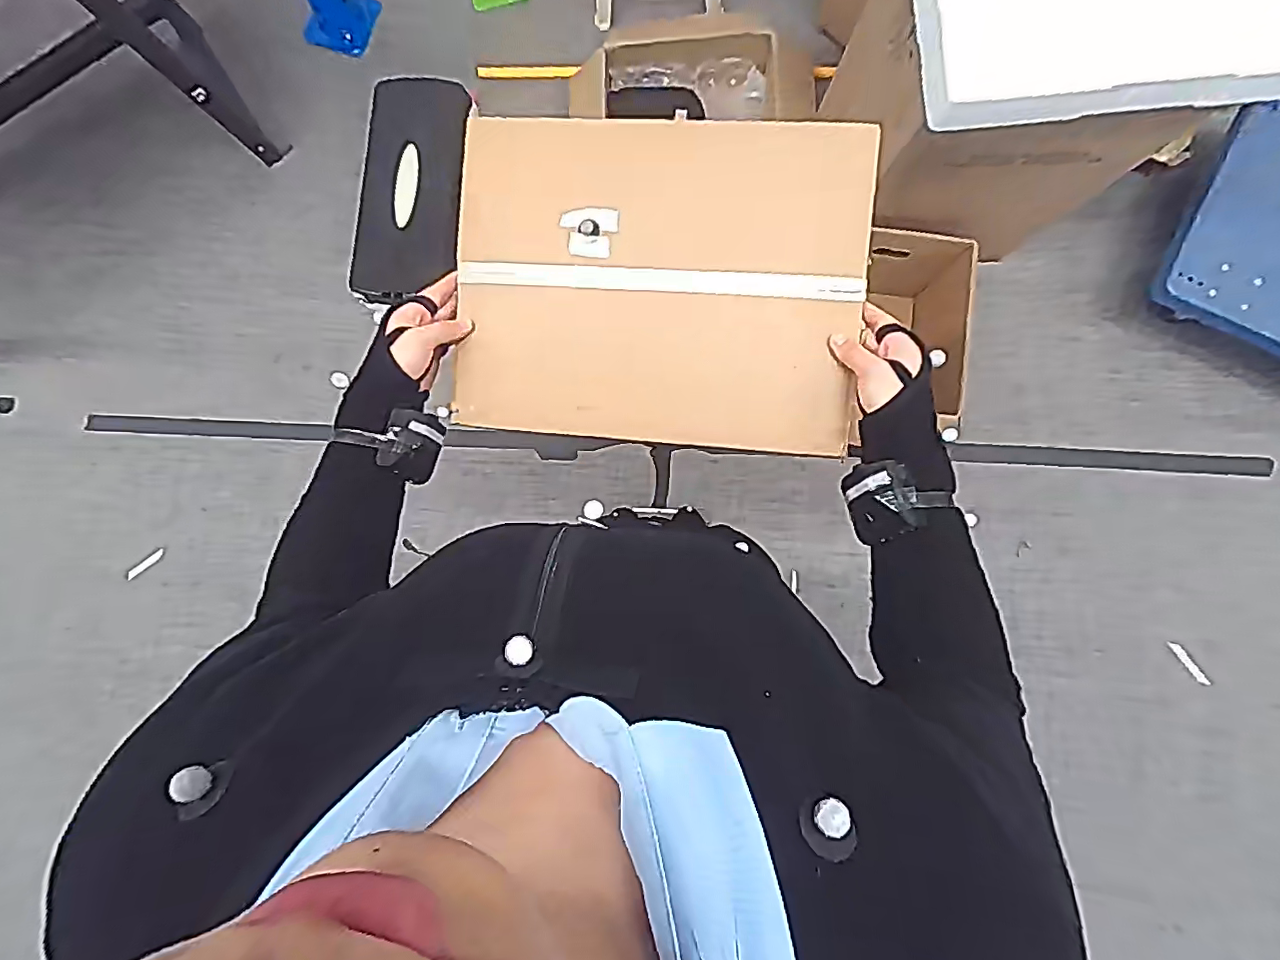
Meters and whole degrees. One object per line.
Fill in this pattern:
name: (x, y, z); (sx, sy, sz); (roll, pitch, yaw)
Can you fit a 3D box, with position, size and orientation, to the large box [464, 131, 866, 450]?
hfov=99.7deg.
large box: (0.035, -0.202, 0.698); (0.408, 0.320, 0.320); (4, 92, 7)
